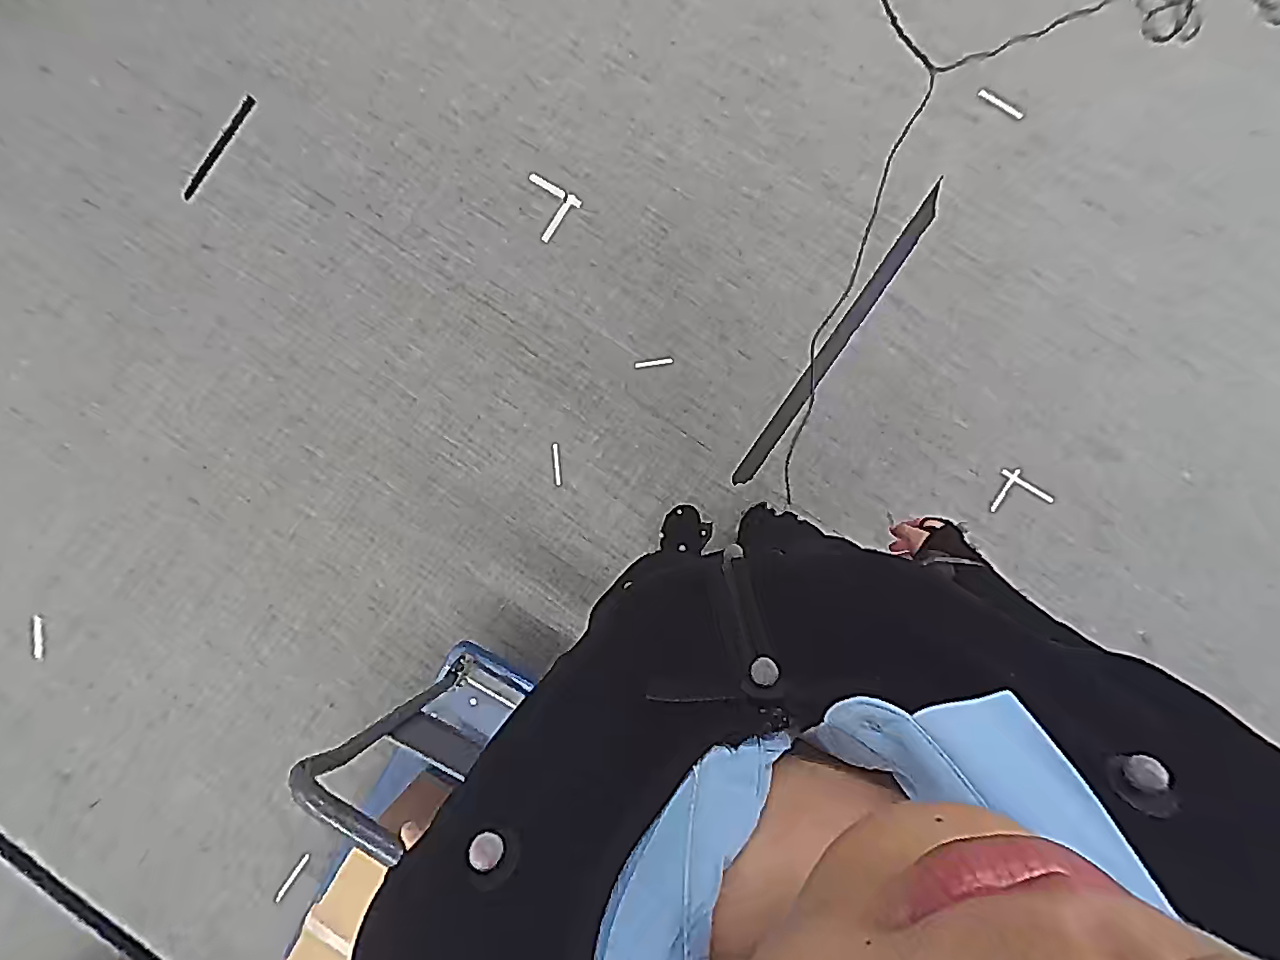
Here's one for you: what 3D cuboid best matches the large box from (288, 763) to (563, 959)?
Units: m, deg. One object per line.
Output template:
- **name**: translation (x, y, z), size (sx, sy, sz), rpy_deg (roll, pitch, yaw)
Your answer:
- **large box**: translation (-0.432, 0.904, 1.163), size (0.408, 0.320, 0.320), rpy_deg (30, 89, 3)
